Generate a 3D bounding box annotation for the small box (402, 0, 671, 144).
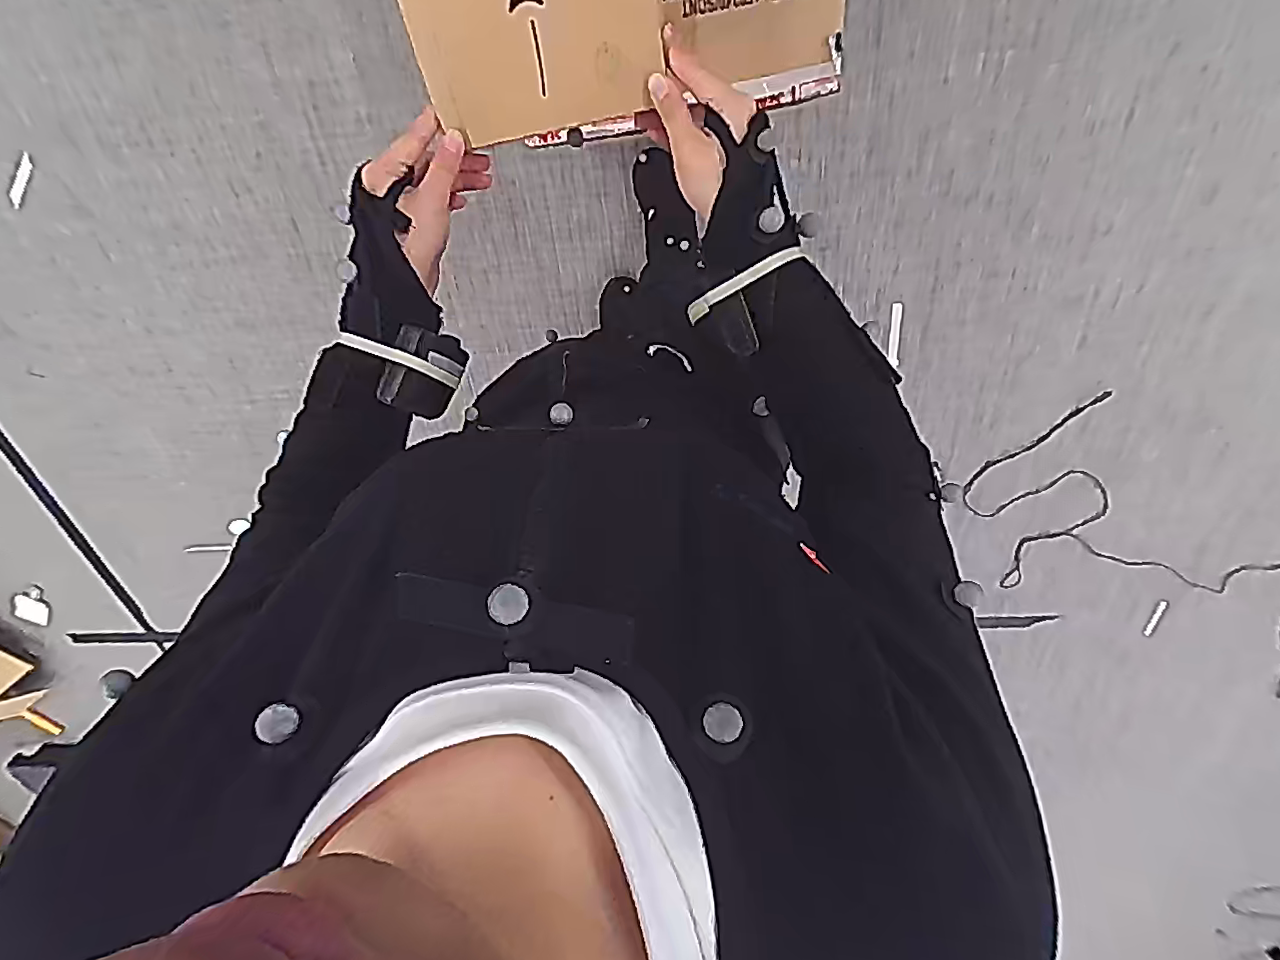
[{"bbox_3d":[-0.071,-0.367,0.398,0.168,0.176,0.179,-7,125,8],"label":"small box"}]
